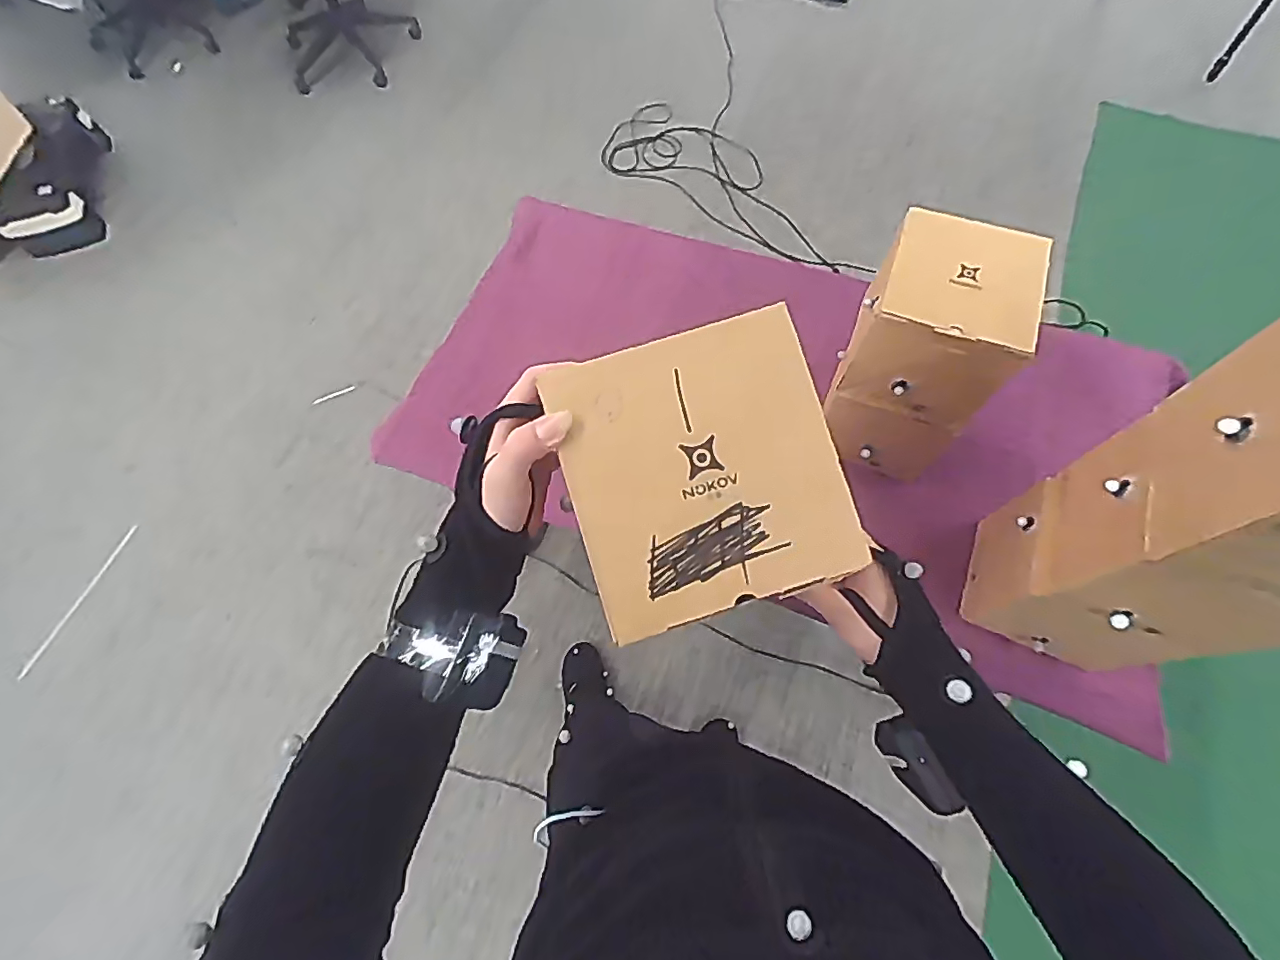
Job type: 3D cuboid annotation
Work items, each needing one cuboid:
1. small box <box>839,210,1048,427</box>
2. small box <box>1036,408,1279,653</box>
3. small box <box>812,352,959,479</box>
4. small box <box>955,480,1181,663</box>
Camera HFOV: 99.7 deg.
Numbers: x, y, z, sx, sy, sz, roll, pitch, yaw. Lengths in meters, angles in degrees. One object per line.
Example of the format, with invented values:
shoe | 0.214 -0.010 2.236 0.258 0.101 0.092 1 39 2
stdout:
small box | 0.373 -0.197 0.690 0.168 0.176 0.179 20 70 10
small box | 0.559 0.061 0.569 0.168 0.176 0.179 22 69 13
small box | 0.385 -0.130 0.838 0.168 0.176 0.179 23 70 12
small box | 0.562 0.130 0.718 0.179 0.176 0.168 22 68 12
